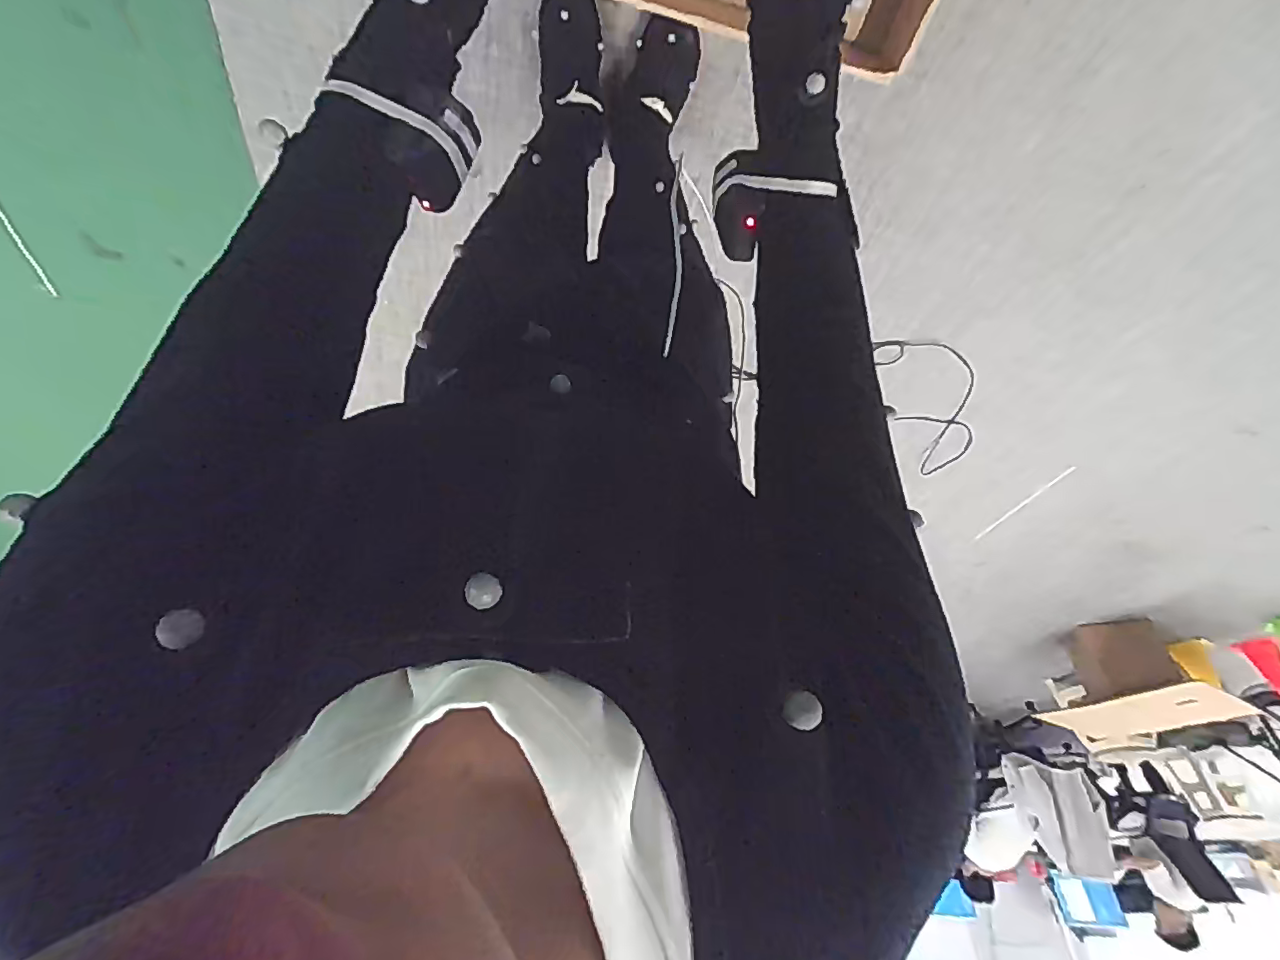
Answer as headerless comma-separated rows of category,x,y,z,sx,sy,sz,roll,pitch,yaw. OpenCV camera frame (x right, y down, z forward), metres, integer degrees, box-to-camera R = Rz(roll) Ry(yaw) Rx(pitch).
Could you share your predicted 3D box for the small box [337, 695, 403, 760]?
small box,-0.957,0.879,1.925,0.168,0.176,0.179,16,140,-13
